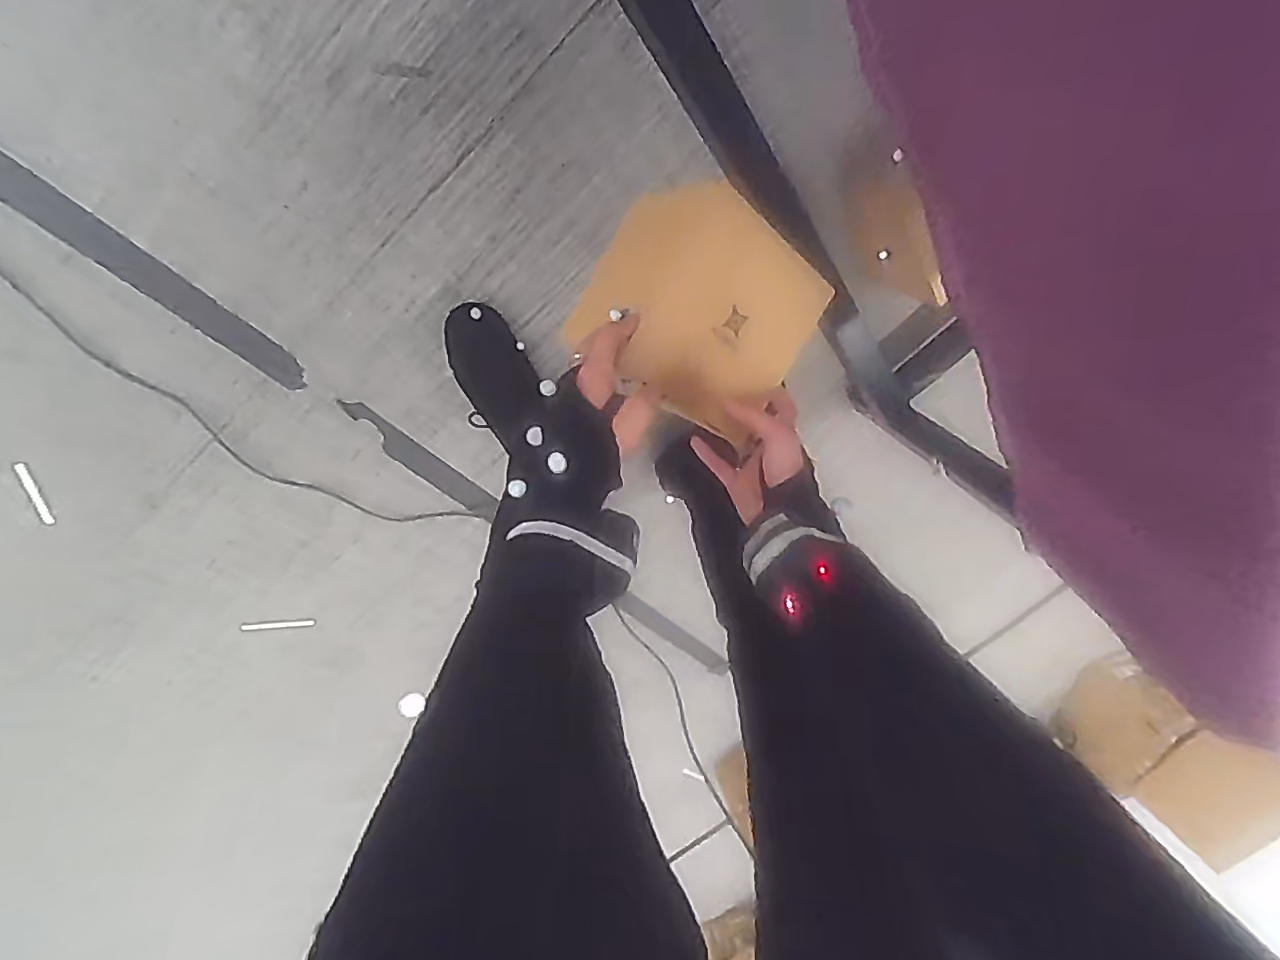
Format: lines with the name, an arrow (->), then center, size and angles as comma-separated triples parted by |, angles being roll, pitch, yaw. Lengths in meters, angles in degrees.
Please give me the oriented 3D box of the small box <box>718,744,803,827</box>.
small box -> 0.386, 0.985, 1.749 | 0.168, 0.176, 0.179 | -44, 124, 13
